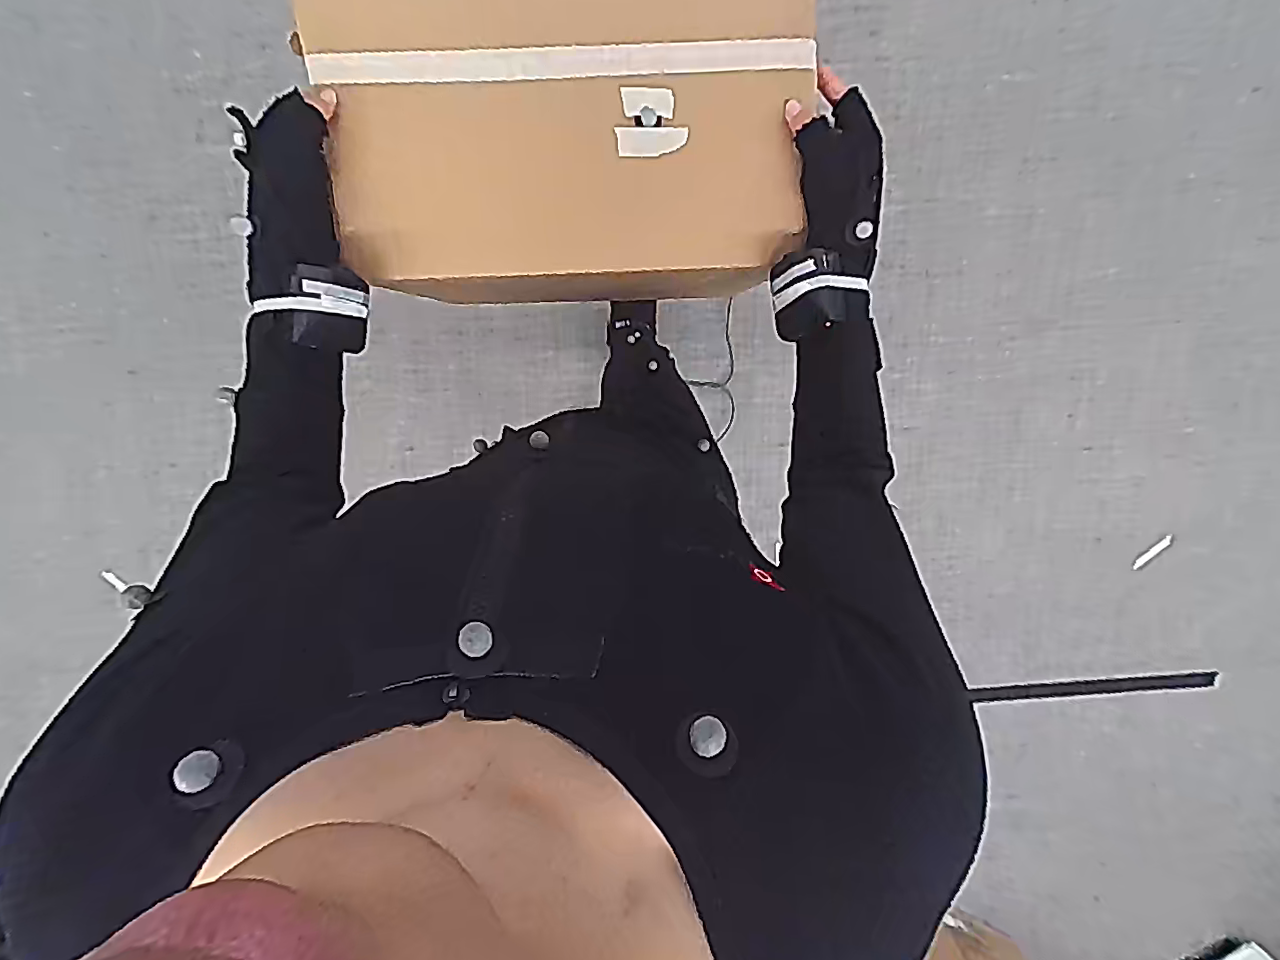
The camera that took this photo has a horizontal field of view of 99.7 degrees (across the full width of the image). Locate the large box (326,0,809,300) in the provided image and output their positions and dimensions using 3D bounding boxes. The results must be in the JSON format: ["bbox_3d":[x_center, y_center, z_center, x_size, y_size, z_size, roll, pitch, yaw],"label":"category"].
[{"bbox_3d":[-0.062,-0.383,0.598,0.408,0.320,0.320,-3,105,-2],"label":"large box"}]
